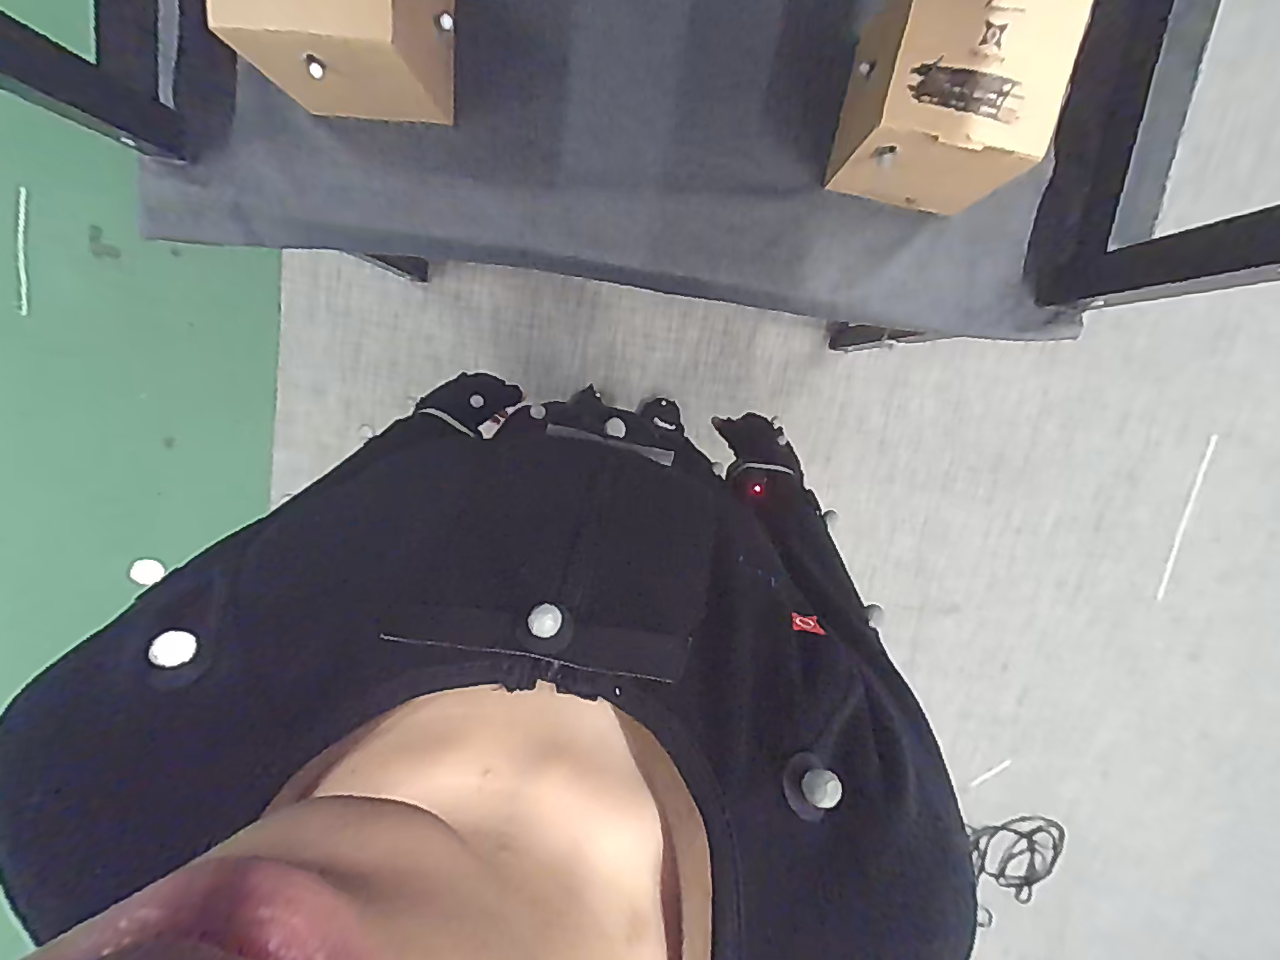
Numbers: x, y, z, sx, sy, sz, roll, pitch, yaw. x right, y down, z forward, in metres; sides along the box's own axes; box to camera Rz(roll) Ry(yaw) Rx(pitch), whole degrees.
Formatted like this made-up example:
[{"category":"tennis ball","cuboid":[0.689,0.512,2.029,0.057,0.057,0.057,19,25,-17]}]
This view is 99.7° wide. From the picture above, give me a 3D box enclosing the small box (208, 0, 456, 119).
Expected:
[{"category":"small box","cuboid":[-0.311,-0.513,0.572,0.179,0.176,0.168,4,101,-1]}]
